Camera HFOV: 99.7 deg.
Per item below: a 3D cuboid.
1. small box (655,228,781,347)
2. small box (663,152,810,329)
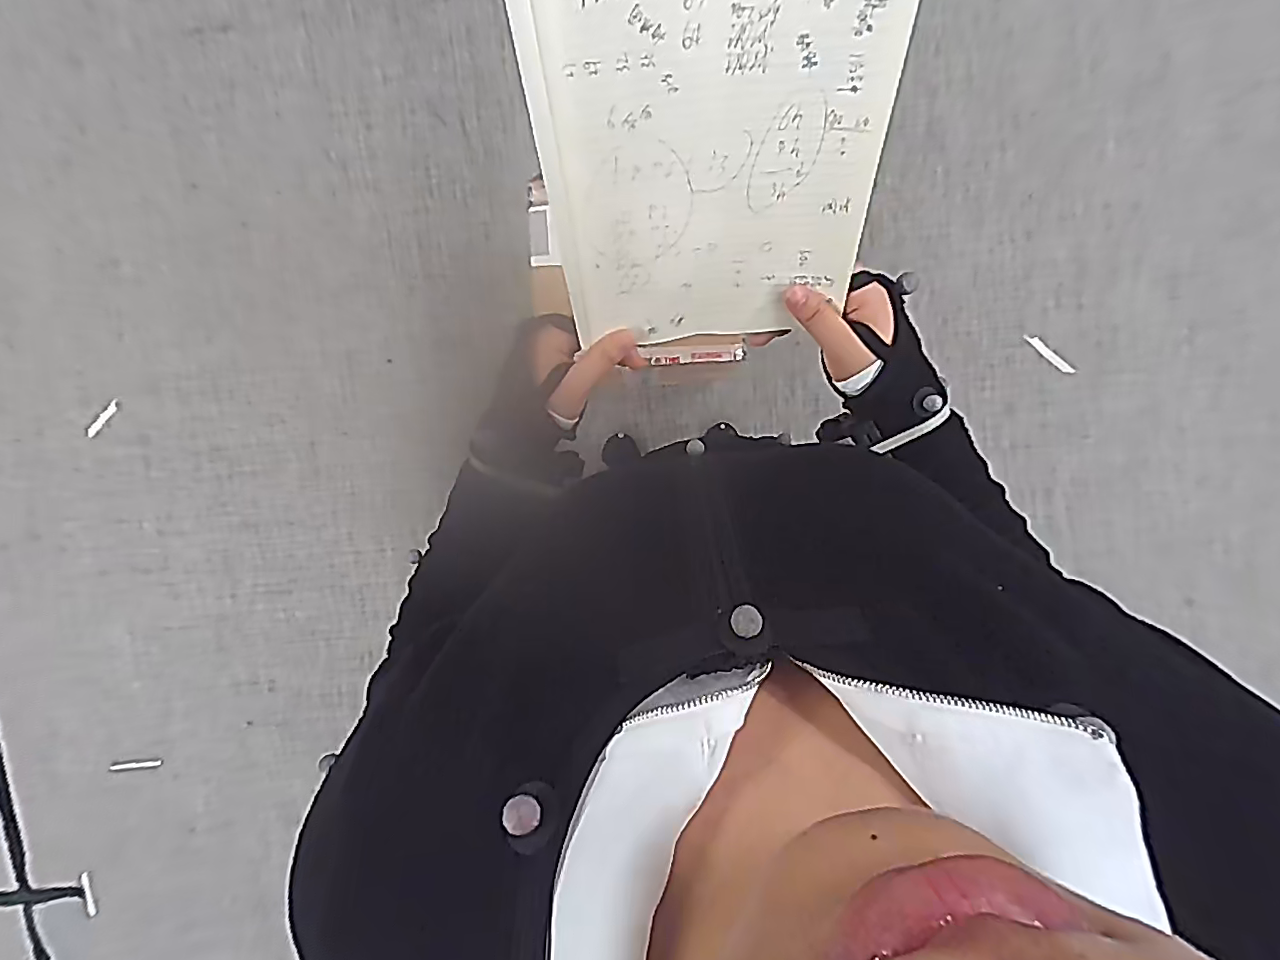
[{"bbox_3d":[0.125,-0.328,0.918,0.179,0.176,0.168,-8,96,1],"label":"small box"},{"bbox_3d":[0.124,-0.320,0.754,0.168,0.176,0.179,-6,95,-1],"label":"small box"}]
